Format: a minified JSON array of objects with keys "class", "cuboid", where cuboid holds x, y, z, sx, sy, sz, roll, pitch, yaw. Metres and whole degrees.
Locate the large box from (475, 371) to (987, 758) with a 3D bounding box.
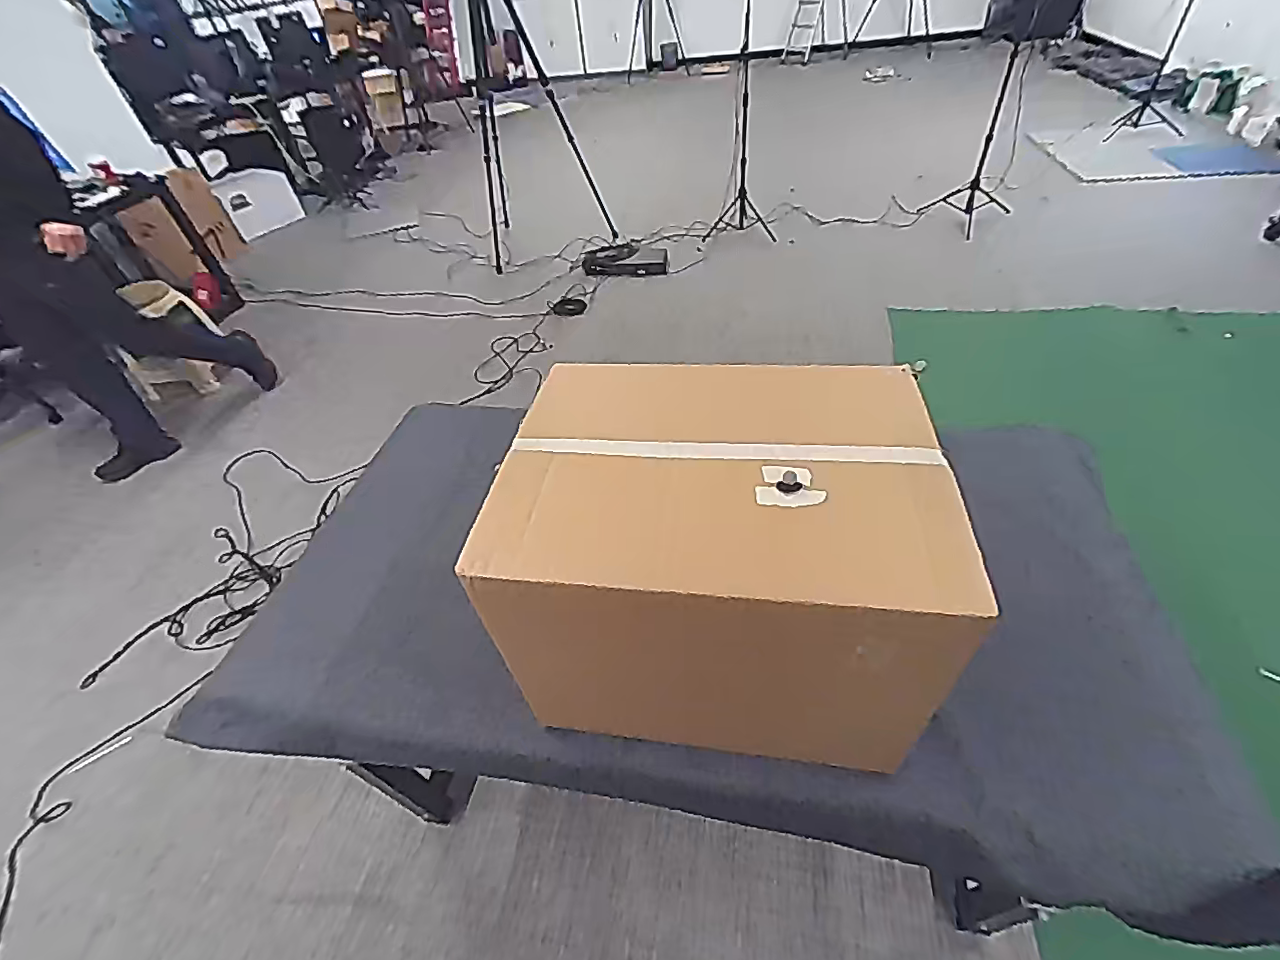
[{"class":"large box","cuboid":[0.087,0.088,0.625,0.408,0.320,0.320,3,45,9]}]
